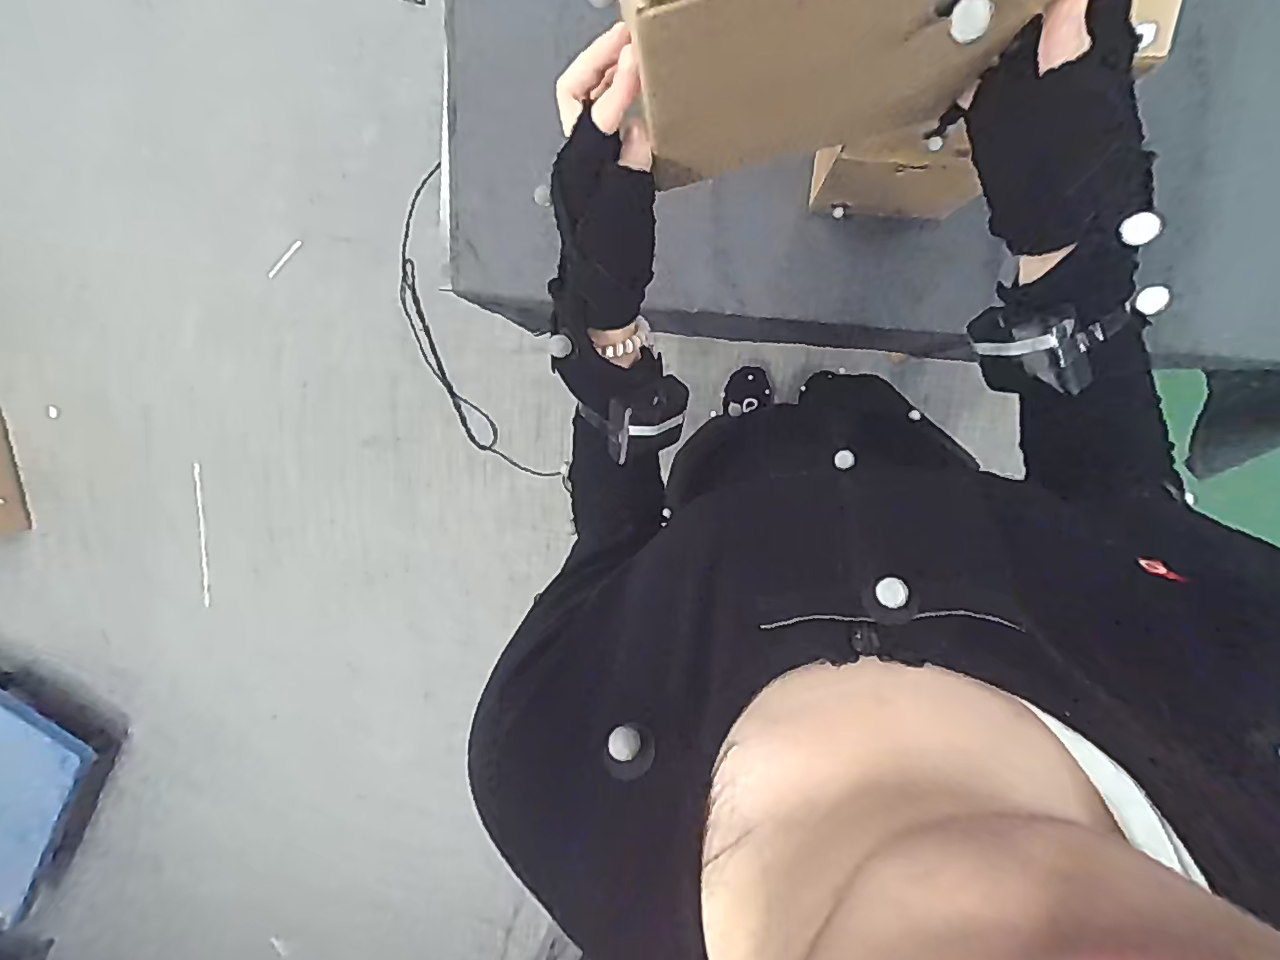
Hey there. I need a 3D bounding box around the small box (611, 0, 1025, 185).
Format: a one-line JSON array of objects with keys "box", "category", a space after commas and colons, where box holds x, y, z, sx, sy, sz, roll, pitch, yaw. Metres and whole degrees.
[{"box": [0.069, -0.267, 0.249, 0.179, 0.176, 0.168, -11, 98, 7], "category": "small box"}]

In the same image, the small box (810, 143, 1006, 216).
[{"box": [0.287, -0.401, 0.581, 0.168, 0.176, 0.179, 6, 99, 6], "category": "small box"}]

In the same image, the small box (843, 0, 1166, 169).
[{"box": [0.267, -0.375, 0.422, 0.168, 0.176, 0.179, 7, 100, 6], "category": "small box"}]
